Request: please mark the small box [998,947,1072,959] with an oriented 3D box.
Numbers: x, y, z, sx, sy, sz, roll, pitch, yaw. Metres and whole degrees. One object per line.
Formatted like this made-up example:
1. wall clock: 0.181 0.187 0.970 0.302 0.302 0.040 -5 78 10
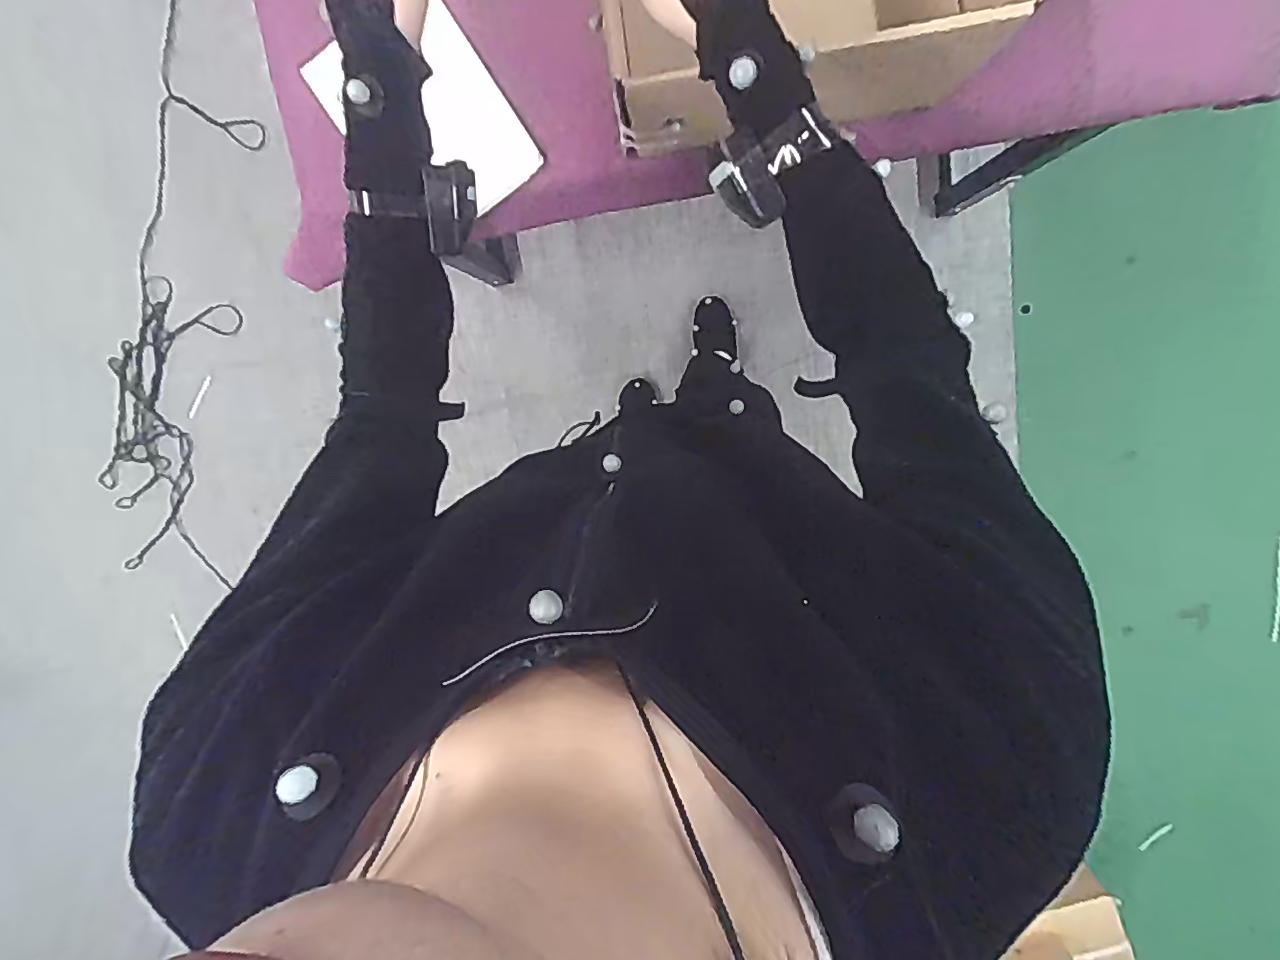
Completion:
1. small box: 0.992 1.259 1.280 0.168 0.176 0.179 -22 98 8
